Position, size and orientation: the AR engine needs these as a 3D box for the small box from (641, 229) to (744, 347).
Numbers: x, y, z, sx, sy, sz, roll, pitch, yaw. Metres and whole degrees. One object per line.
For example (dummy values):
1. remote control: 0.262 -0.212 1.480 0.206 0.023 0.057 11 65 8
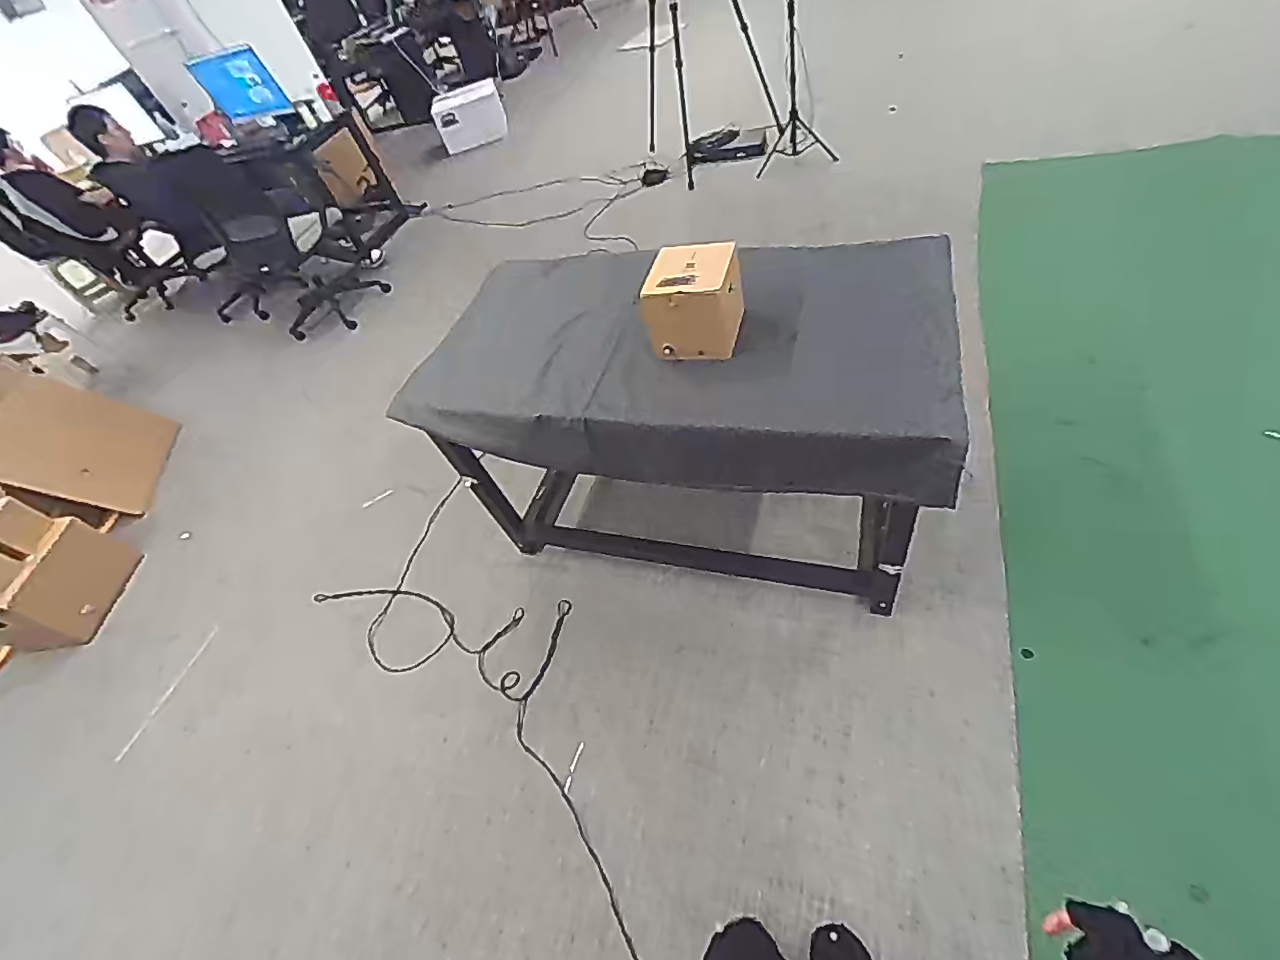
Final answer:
1. small box: 0.121 -0.398 1.141 0.168 0.176 0.179 5 54 21
